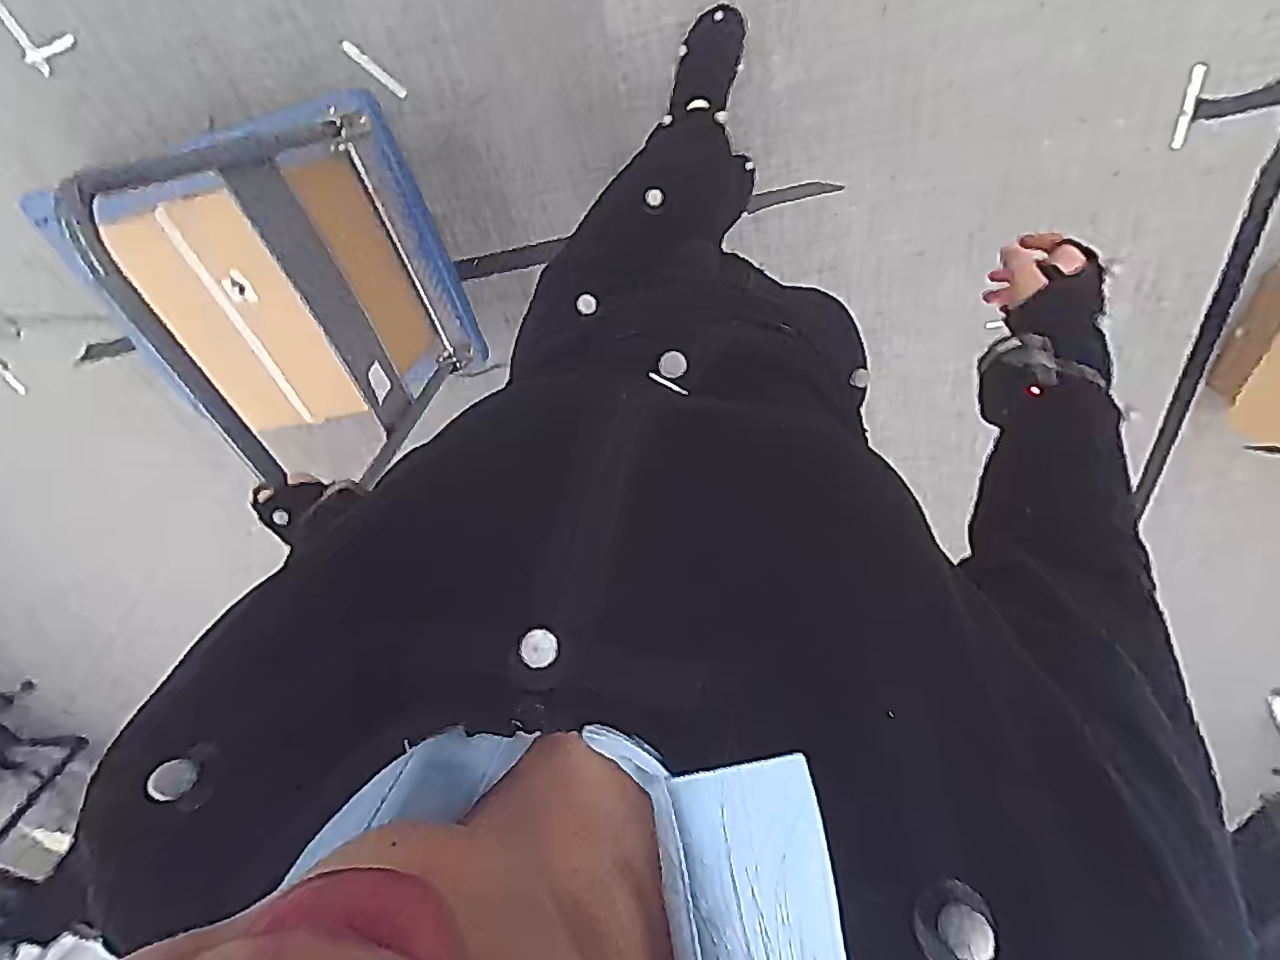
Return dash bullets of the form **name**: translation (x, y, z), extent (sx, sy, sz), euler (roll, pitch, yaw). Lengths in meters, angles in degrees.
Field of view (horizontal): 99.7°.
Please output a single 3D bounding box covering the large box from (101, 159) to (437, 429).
- **large box**: translation (-0.686, -0.368, 1.092), extent (0.320, 0.320, 0.408), euler (-8, 127, 12)
